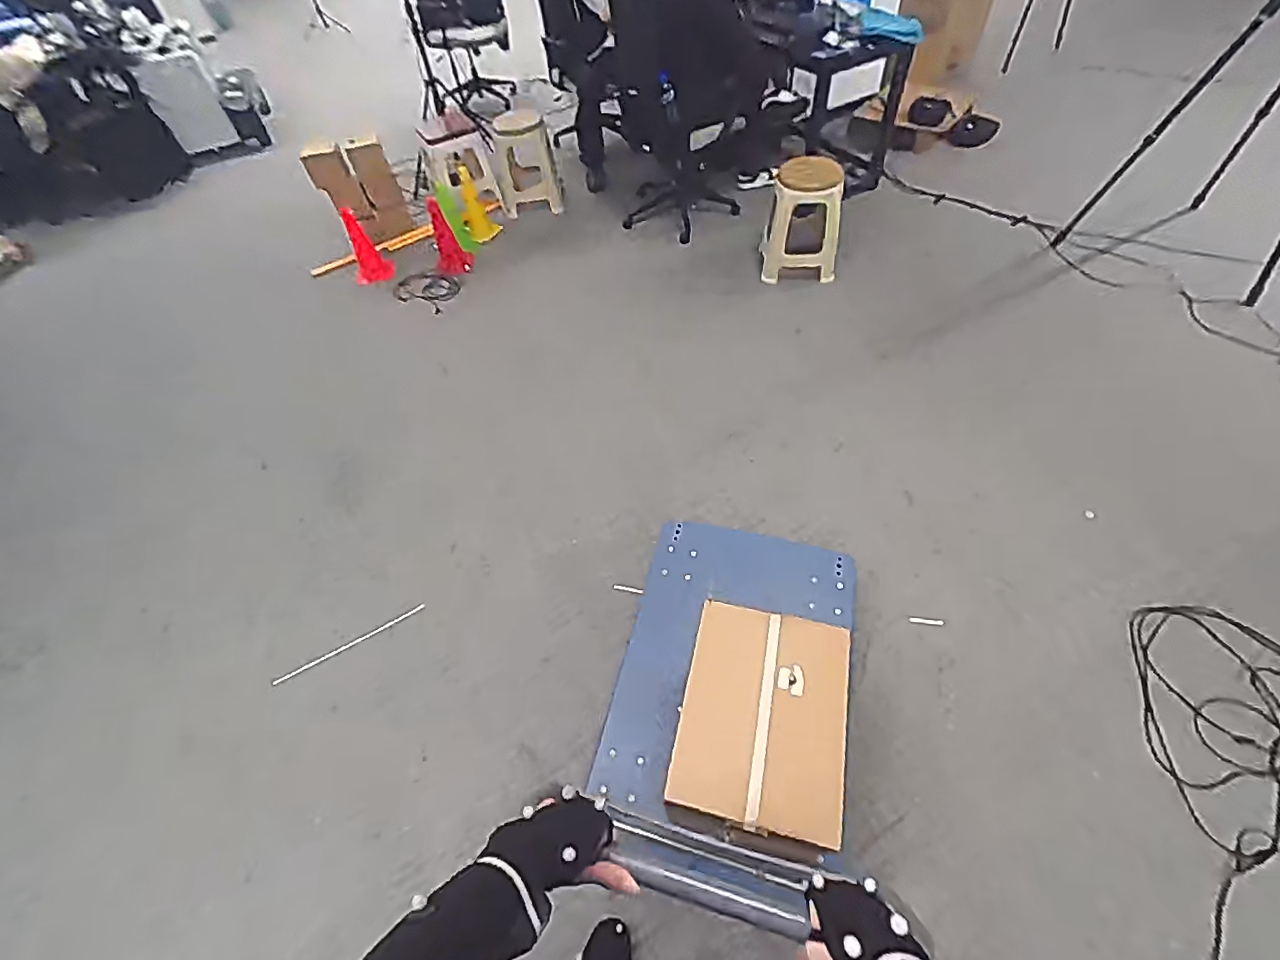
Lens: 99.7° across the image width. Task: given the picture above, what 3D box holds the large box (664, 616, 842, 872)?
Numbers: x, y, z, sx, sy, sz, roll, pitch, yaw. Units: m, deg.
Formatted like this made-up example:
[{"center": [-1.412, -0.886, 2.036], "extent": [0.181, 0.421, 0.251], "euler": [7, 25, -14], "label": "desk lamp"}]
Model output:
[{"center": [0.247, 0.576, 1.189], "extent": [0.320, 0.320, 0.408], "euler": [10, 53, 12], "label": "large box"}]
